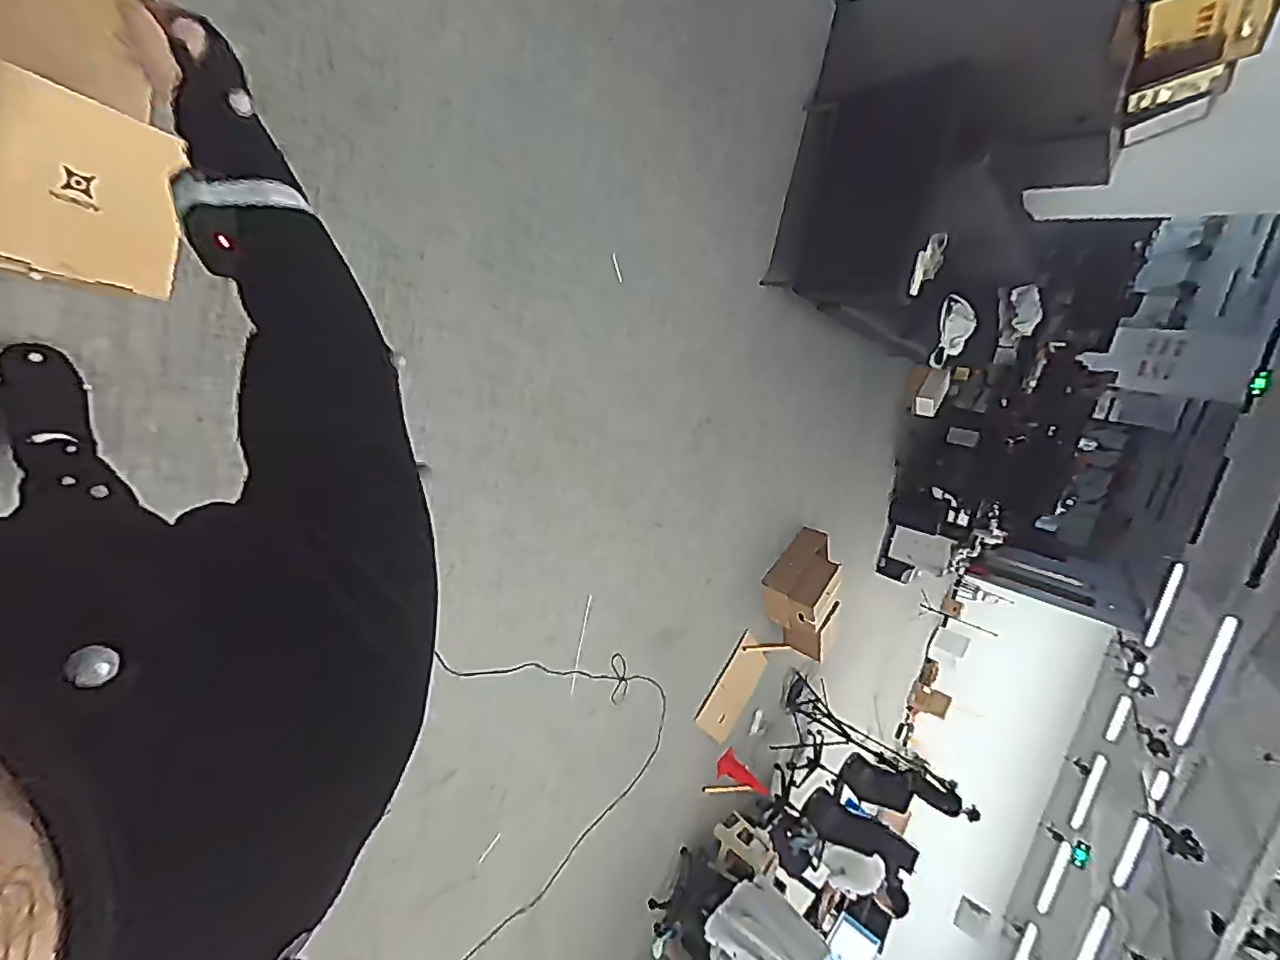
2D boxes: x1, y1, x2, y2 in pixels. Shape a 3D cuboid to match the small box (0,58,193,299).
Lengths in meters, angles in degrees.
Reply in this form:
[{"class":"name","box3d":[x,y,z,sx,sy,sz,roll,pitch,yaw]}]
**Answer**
[{"class":"small box","box3d":[-0.624,-0.313,0.591,0.168,0.176,0.179,5,100,-52]}]
